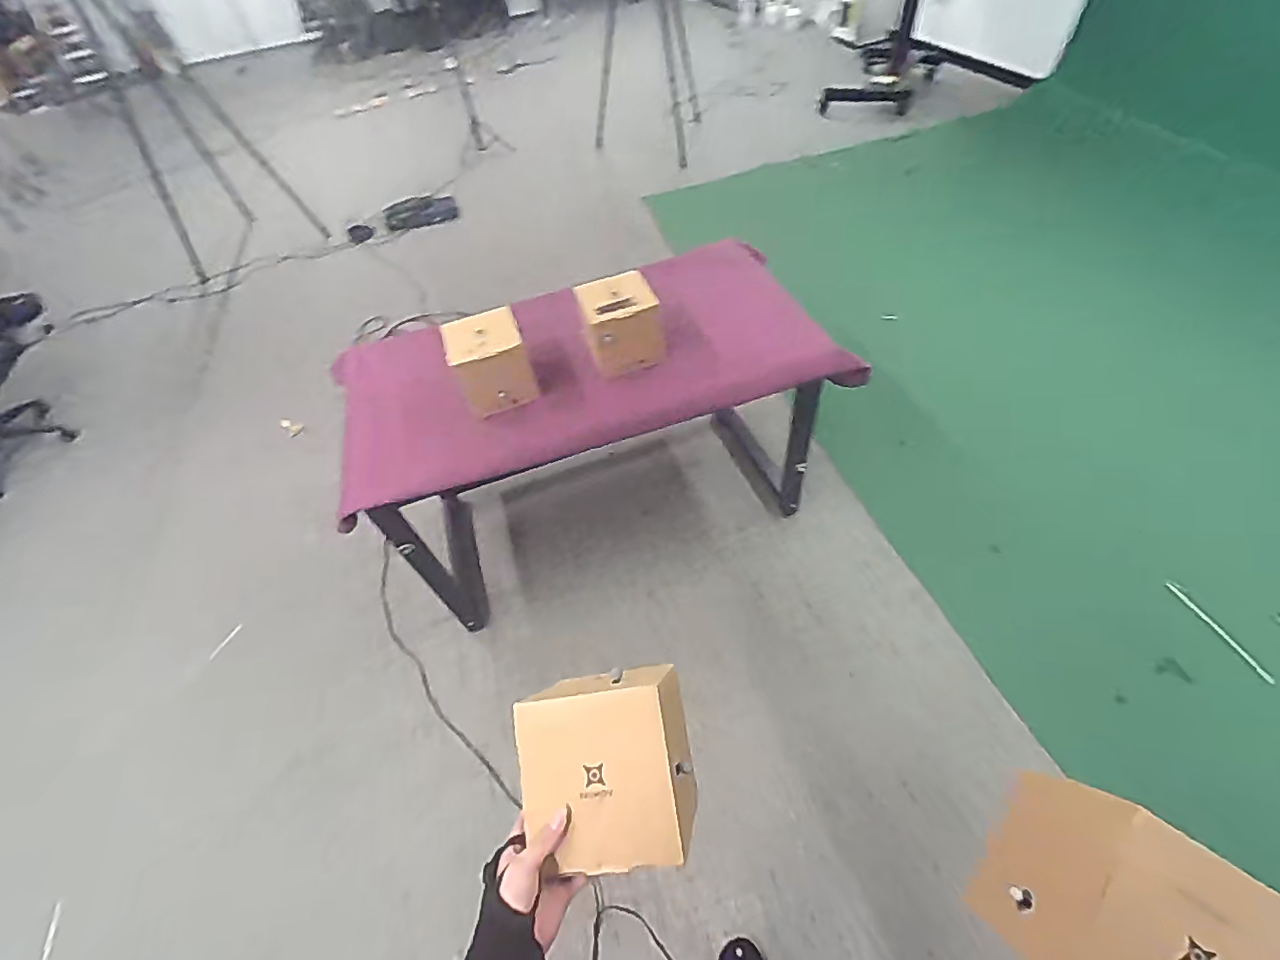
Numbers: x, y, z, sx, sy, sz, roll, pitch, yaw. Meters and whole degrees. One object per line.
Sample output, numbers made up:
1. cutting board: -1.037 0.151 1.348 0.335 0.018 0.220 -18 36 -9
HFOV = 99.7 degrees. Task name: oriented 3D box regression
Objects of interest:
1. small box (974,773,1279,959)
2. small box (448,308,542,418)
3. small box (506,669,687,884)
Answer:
1. small box: 0.465 0.426 0.523 0.168 0.176 0.179 33 79 12
2. small box: -0.347 -0.279 1.303 0.168 0.176 0.179 -19 51 -7
3. small box: -0.043 0.326 0.633 0.168 0.176 0.179 -11 78 7
